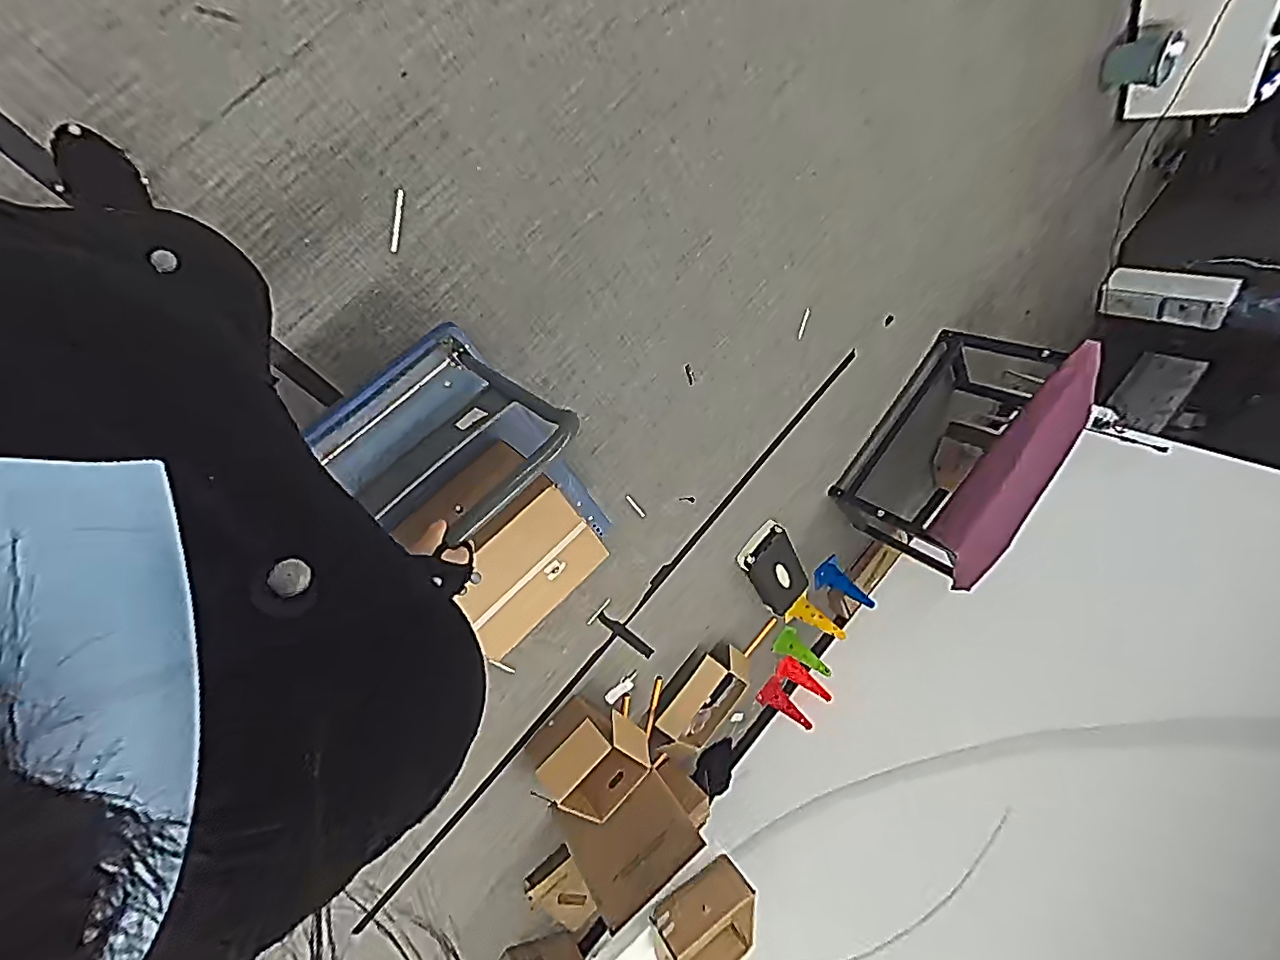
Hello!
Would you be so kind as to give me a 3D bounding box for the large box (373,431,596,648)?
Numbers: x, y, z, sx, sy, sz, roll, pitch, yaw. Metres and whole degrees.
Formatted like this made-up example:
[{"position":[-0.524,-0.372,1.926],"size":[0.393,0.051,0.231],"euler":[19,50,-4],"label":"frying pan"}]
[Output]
[{"position":[-0.403,0.146,1.418],"size":[0.408,0.320,0.320],"euler":[-44,135,-14],"label":"large box"}]
